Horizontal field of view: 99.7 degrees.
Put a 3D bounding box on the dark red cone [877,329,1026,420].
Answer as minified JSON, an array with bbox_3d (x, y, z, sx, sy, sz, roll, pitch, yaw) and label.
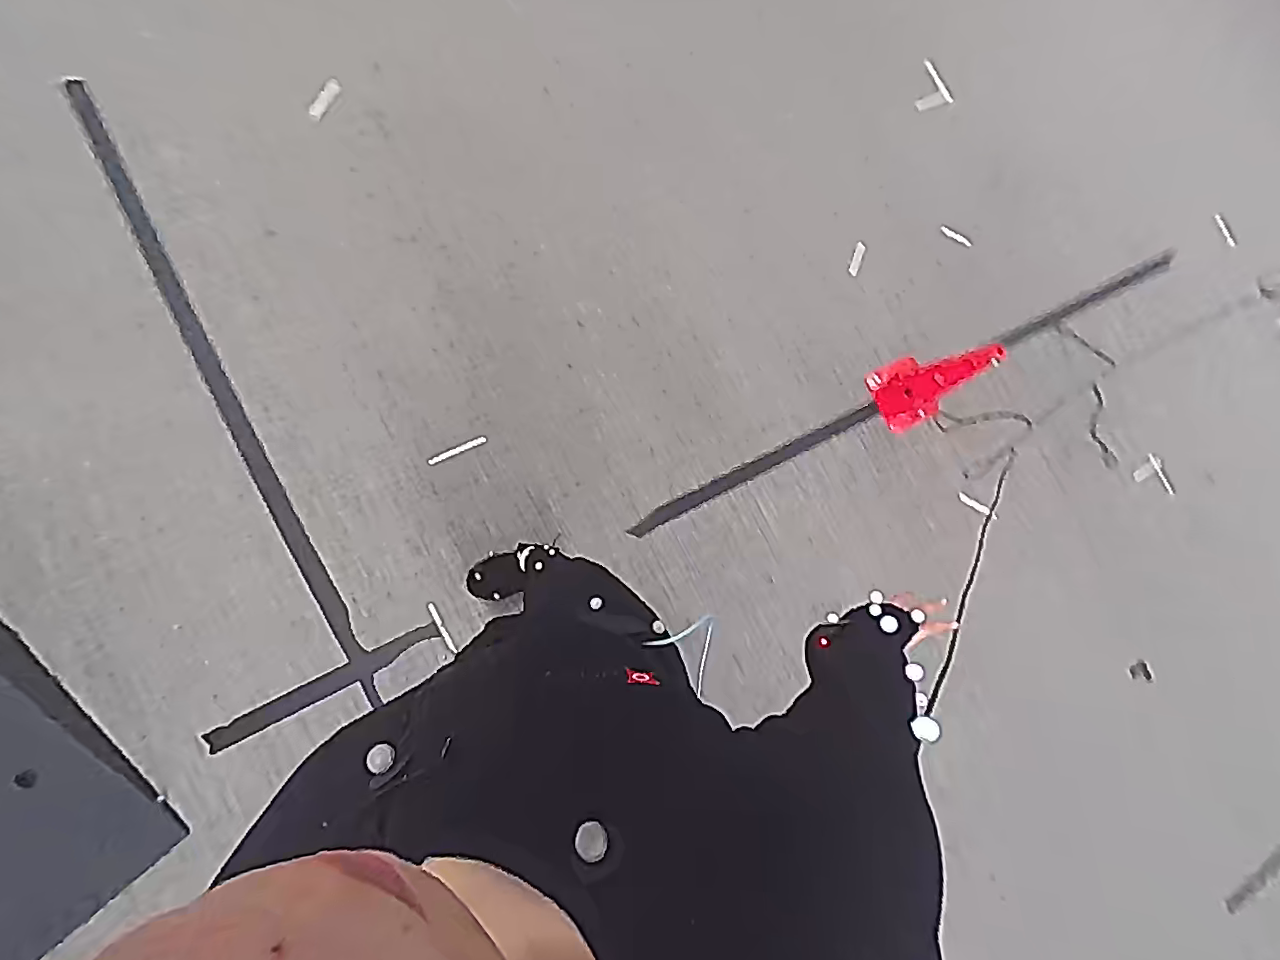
[{"bbox_3d":[0.861,-0.318,1.476,0.202,0.394,0.201,-27,90,-14],"label":"dark red cone"}]
